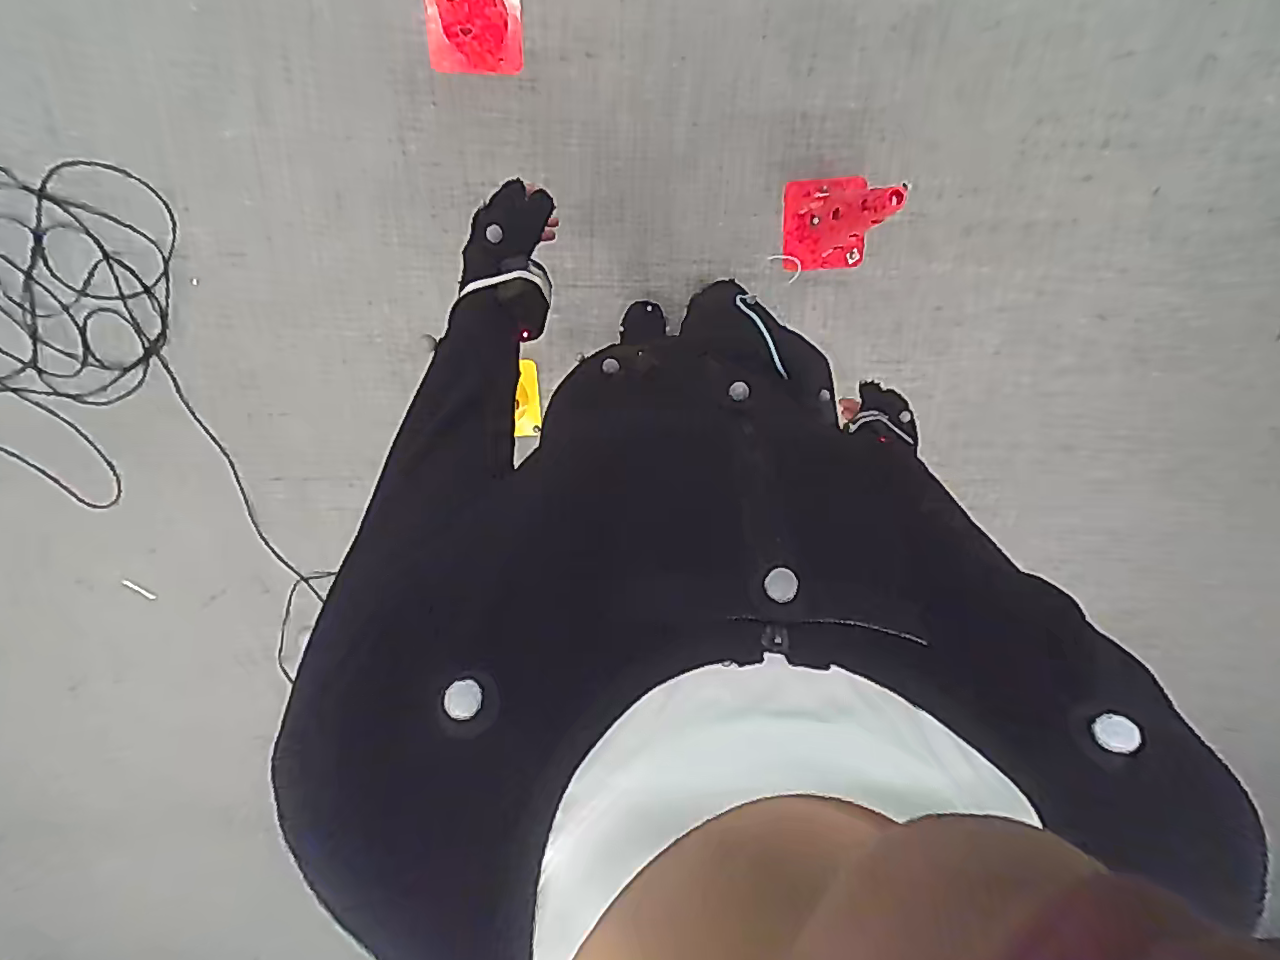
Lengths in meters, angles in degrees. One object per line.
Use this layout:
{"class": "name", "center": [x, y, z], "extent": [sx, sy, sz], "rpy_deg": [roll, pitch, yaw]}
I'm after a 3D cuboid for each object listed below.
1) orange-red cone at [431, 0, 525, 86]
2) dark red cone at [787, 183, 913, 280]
{"class": "orange-red cone", "center": [-0.346, -0.916, 1.006], "extent": [0.198, 0.360, 0.199], "rpy_deg": [1, 108, -1]}
{"class": "dark red cone", "center": [0.455, -0.541, 1.126], "extent": [0.202, 0.394, 0.201], "rpy_deg": [-5, 106, 0]}
